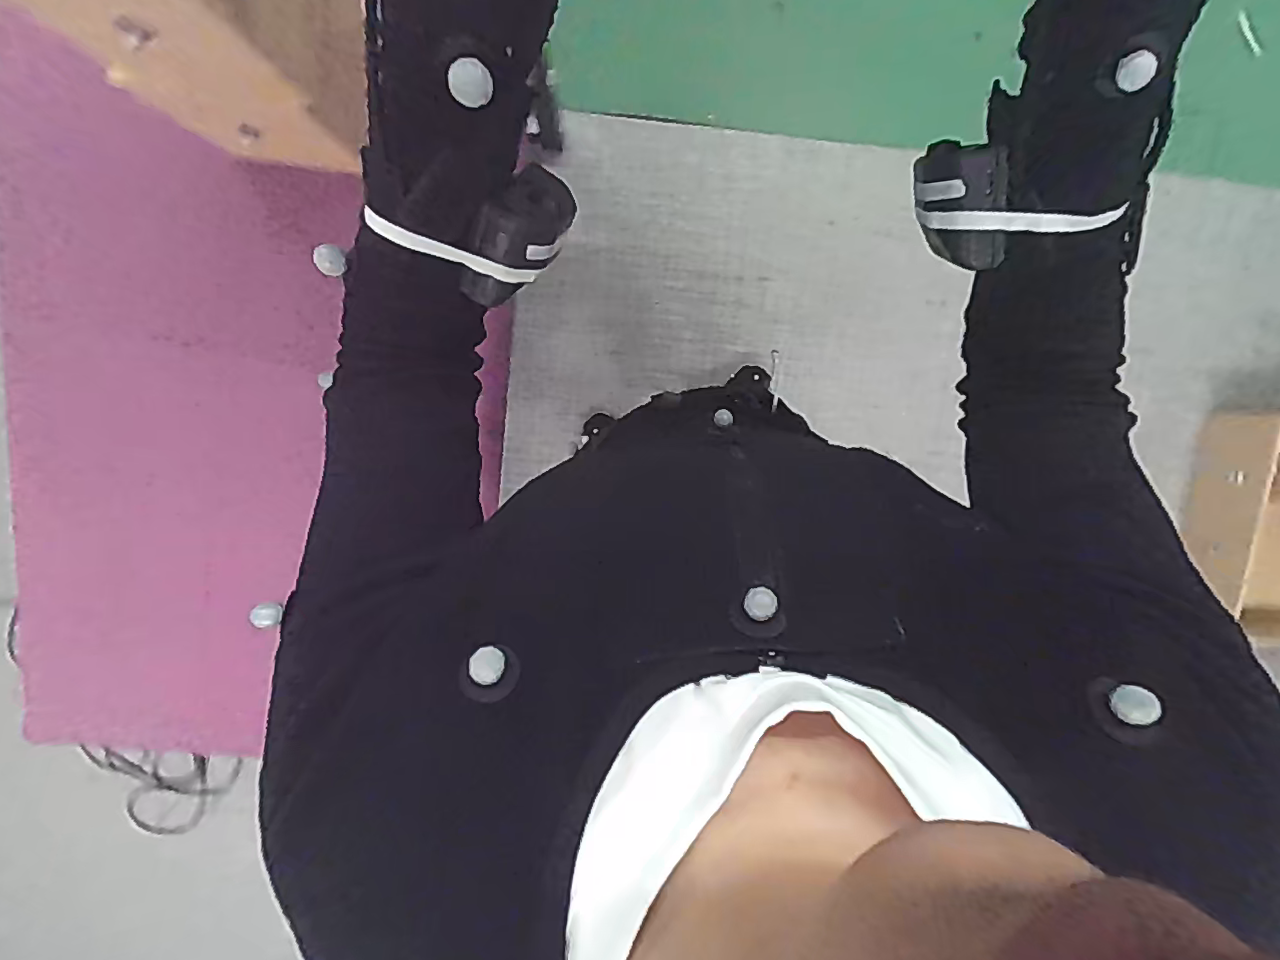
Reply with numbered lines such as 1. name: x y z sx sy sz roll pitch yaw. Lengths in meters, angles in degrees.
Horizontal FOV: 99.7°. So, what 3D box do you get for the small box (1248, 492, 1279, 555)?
1. small box: 1.792 0.133 1.418 0.179 0.176 0.168 8 100 -4
